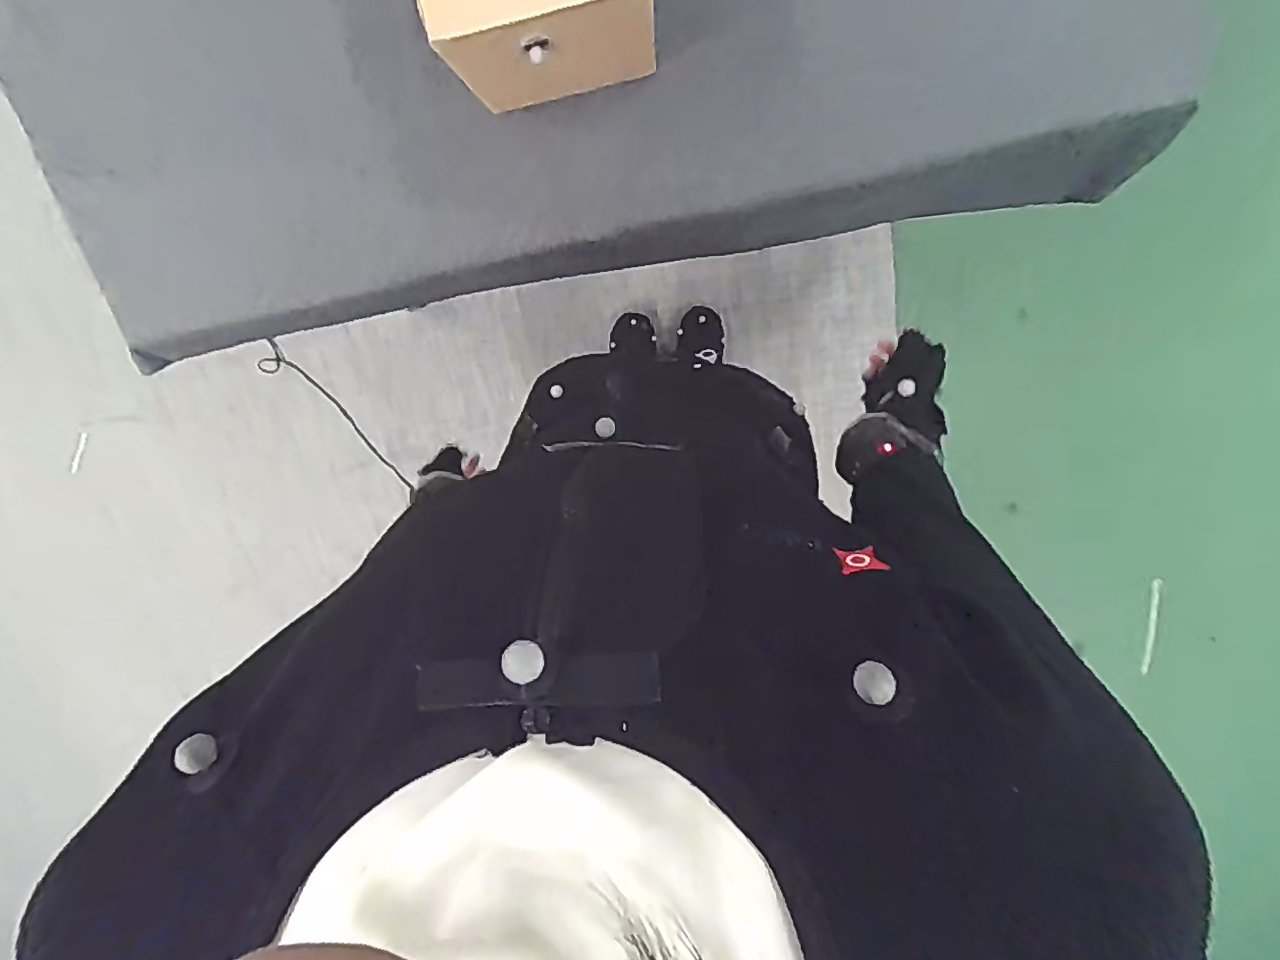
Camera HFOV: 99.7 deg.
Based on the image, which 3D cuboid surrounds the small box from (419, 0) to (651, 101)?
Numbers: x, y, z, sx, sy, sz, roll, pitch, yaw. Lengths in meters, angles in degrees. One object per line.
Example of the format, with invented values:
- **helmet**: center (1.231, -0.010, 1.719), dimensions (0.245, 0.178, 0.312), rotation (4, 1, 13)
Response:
- **small box**: center (-0.091, -0.460, 0.464), dimensions (0.179, 0.176, 0.168), rotation (-10, 108, 6)
